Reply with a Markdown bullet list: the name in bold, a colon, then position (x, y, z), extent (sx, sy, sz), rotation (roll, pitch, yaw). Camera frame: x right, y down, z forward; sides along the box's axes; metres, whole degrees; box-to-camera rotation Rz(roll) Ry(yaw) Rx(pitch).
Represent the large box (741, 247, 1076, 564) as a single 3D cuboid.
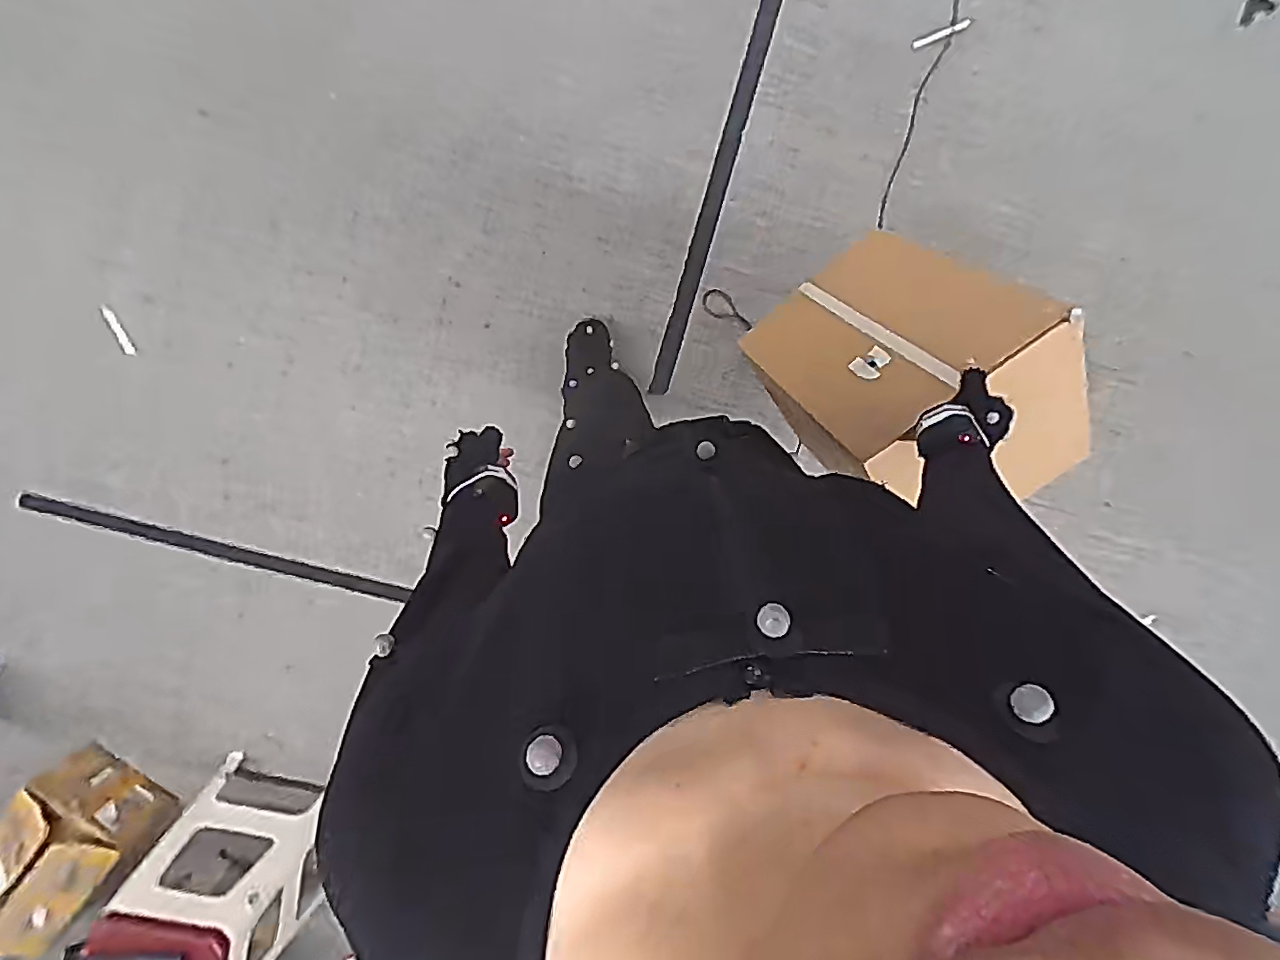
- **large box**: position (0.447, -0.137, 0.945), extent (0.320, 0.408, 0.320), rotation (-37, 131, 9)
